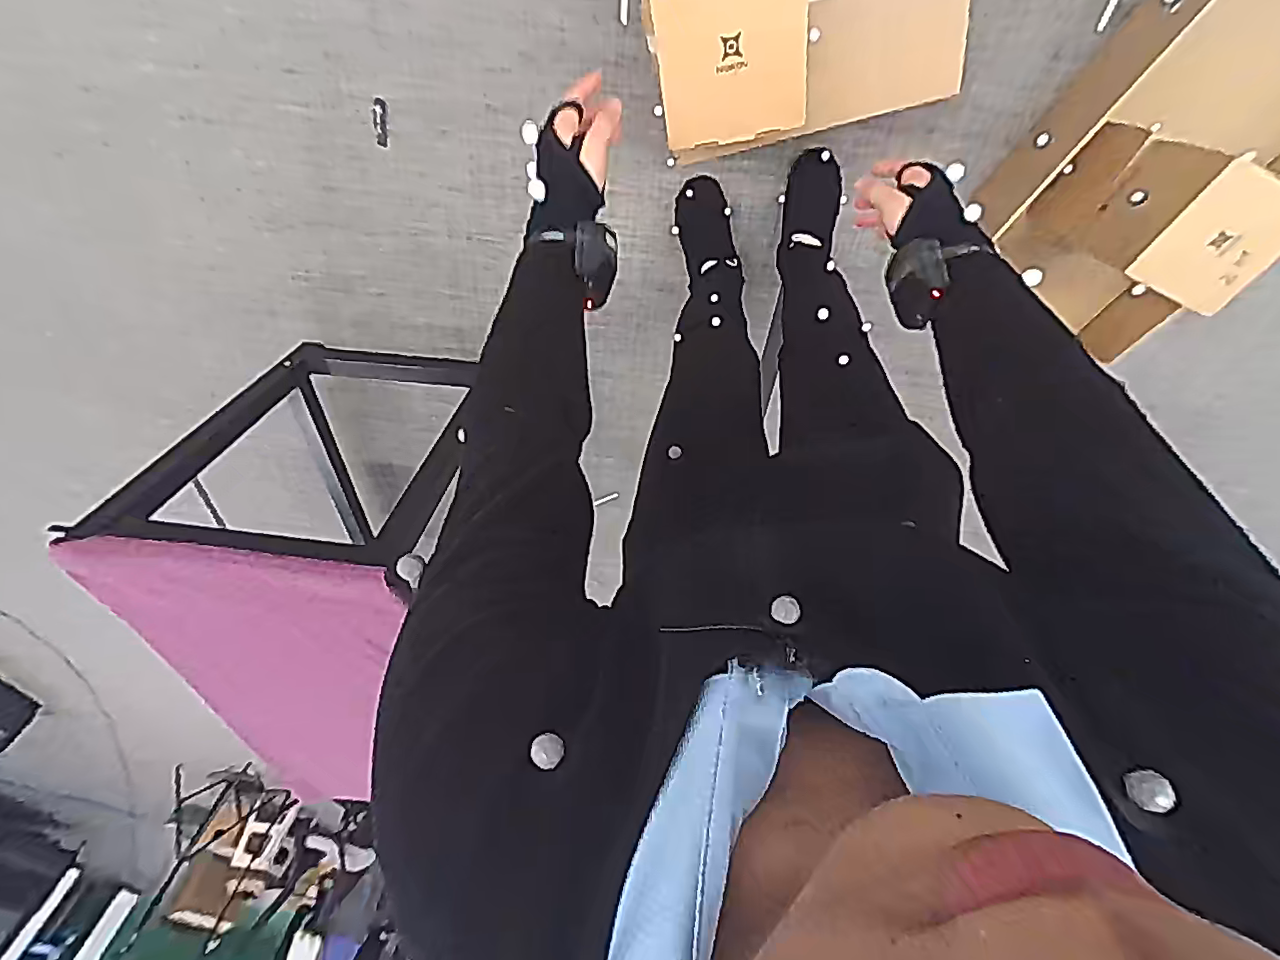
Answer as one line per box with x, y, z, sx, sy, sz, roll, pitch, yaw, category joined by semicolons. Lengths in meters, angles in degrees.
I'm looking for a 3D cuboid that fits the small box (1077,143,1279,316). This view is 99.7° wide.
0.826;-0.382;0.815;0.179;0.176;0.168;20;129;-11;small box
